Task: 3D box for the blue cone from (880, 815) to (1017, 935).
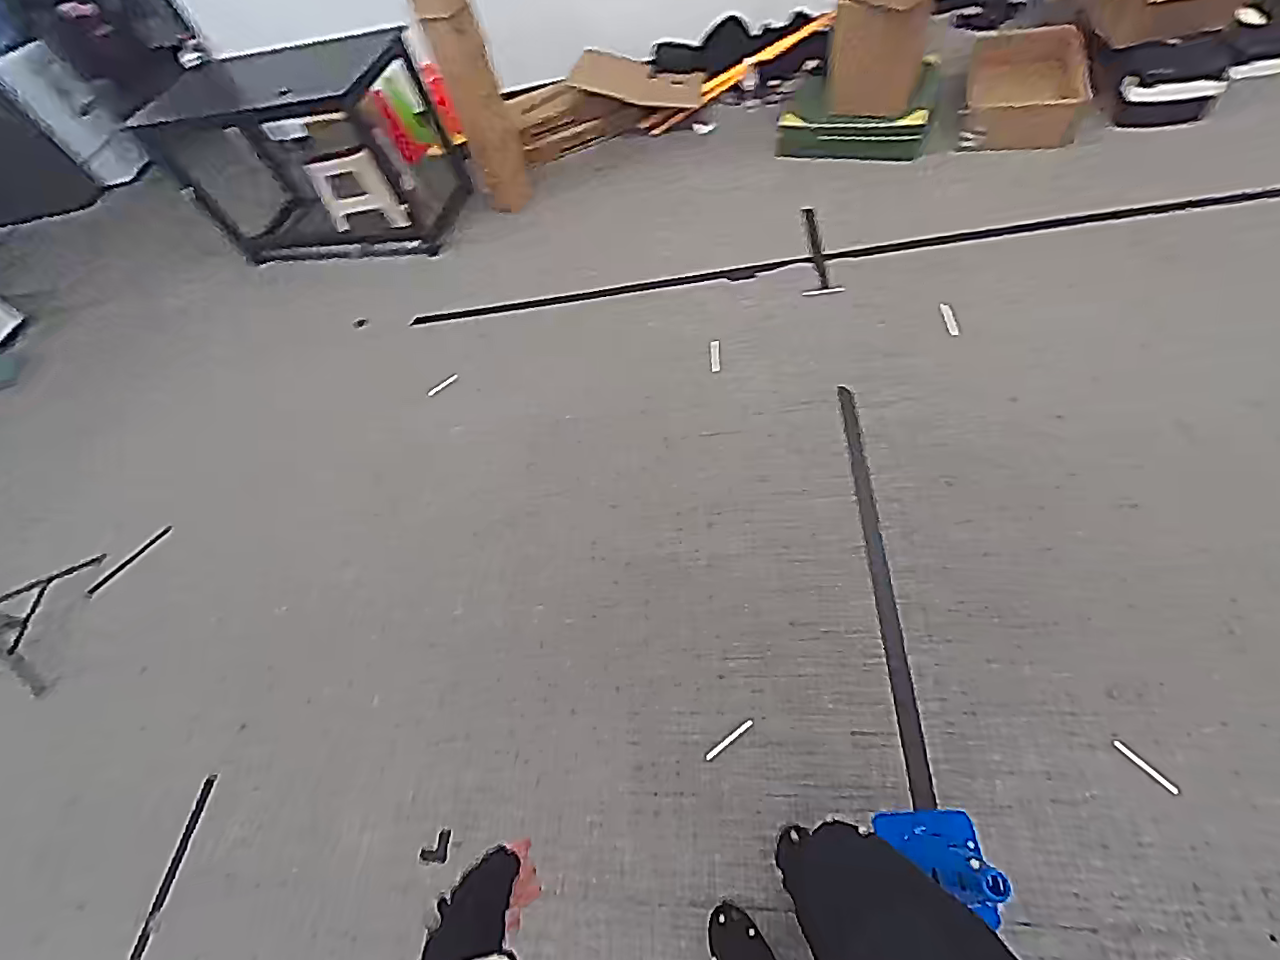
[{"bbox_3d":[0.573,0.700,0.943,0.192,0.380,0.193,-9,58,7],"label":"blue cone"}]
